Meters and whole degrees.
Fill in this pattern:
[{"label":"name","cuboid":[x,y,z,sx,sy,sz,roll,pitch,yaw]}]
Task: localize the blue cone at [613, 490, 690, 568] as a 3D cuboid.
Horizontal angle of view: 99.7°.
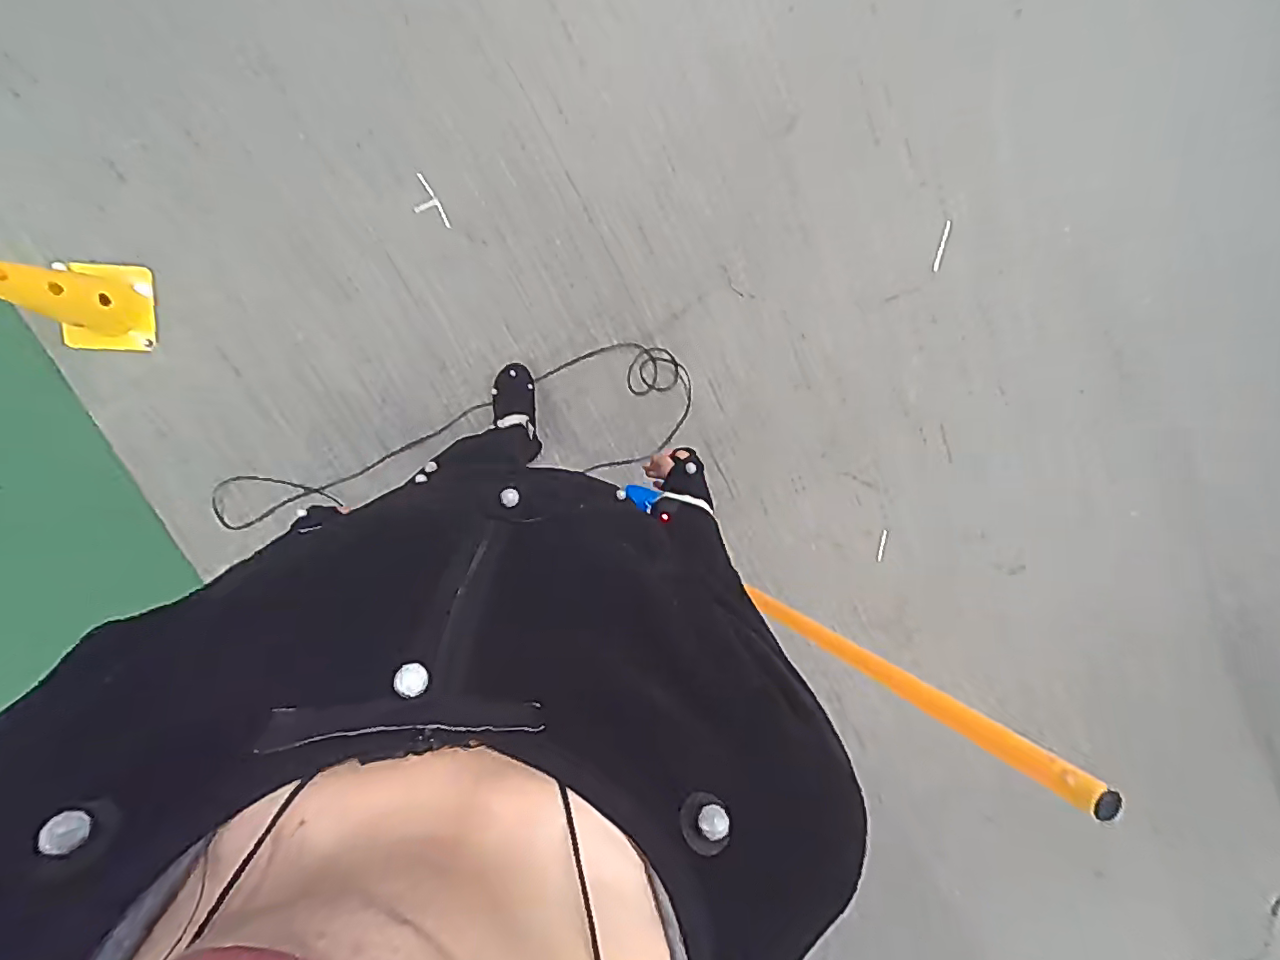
[{"label":"blue cone","cuboid":[0.060,0.145,1.343,0.193,0.380,0.192,16,92,-11]}]
